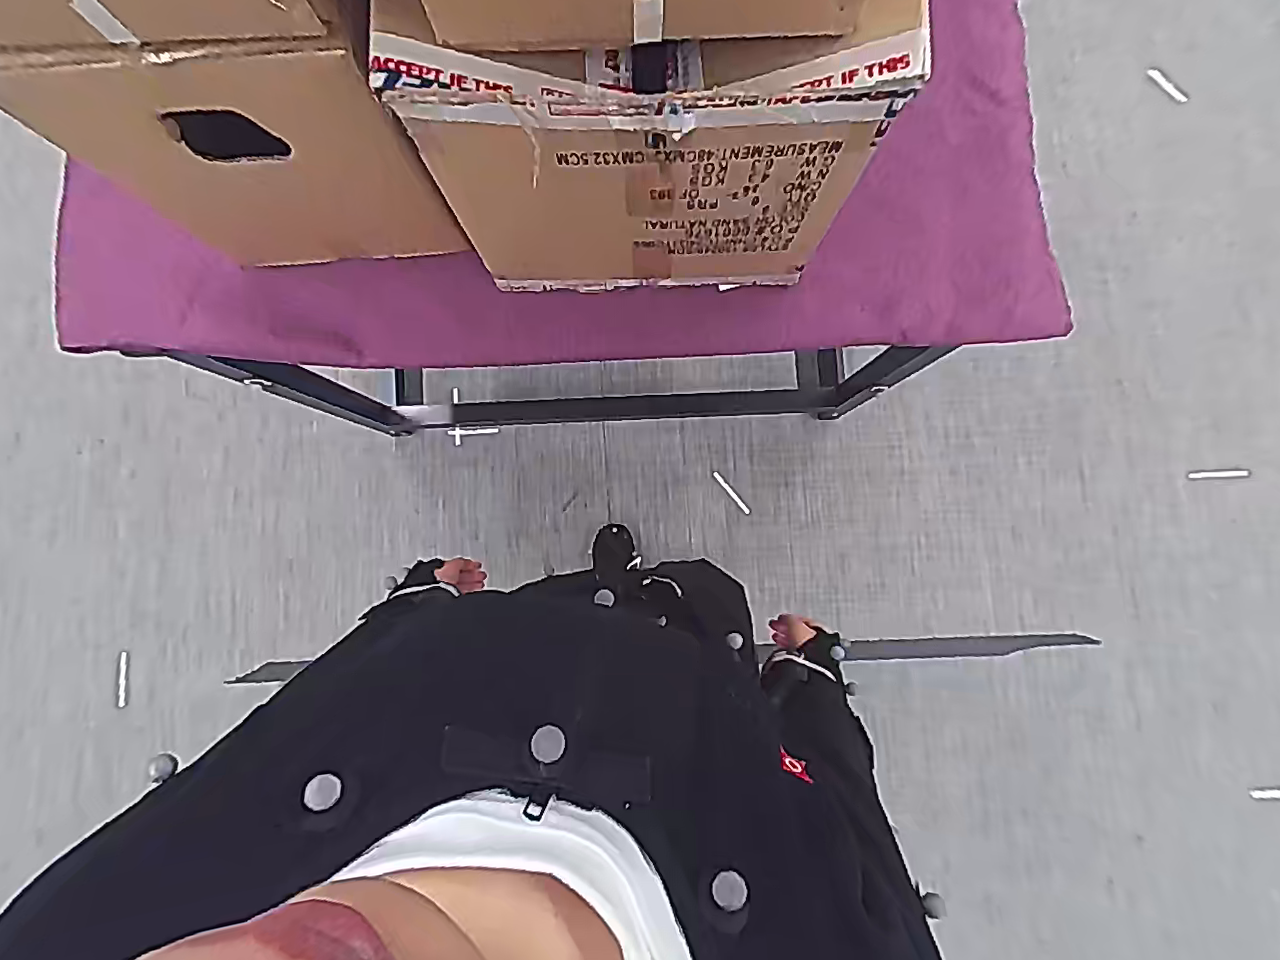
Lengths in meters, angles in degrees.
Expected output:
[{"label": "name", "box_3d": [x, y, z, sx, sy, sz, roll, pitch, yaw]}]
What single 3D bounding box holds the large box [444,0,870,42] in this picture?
[{"label": "large box", "box_3d": [0.006, -0.537, 0.265, 0.320, 0.320, 0.408, -3, 86, 1]}]
